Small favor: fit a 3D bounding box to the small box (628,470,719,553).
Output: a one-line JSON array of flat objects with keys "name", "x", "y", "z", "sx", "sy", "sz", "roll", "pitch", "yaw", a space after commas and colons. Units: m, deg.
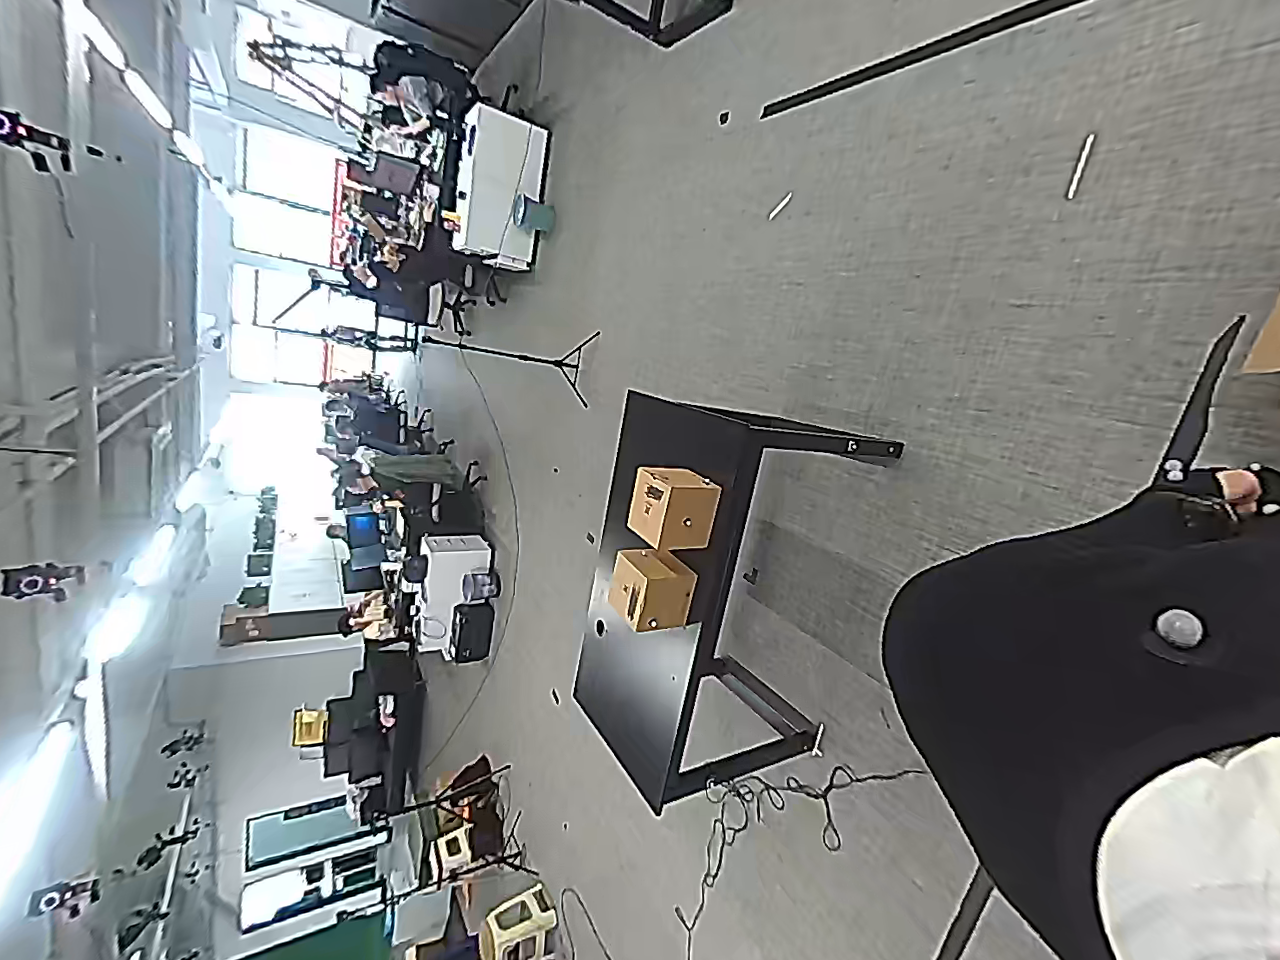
[{"name": "small box", "x": 0.093, "y": 0.080, "z": 1.464, "sx": 0.168, "sy": 0.176, "sz": 0.179, "roll": 33, "pitch": 117, "yaw": 54}]
